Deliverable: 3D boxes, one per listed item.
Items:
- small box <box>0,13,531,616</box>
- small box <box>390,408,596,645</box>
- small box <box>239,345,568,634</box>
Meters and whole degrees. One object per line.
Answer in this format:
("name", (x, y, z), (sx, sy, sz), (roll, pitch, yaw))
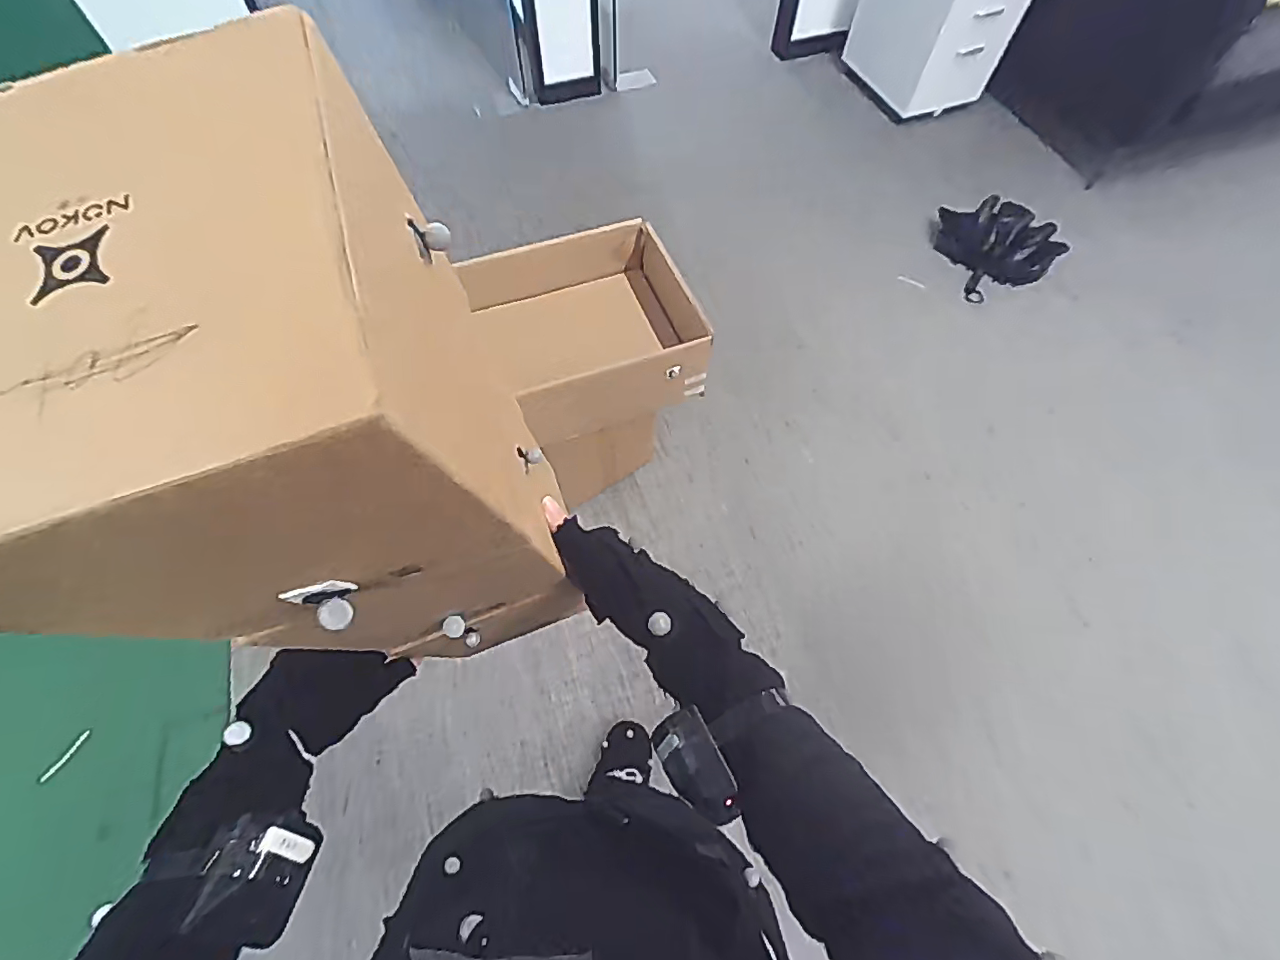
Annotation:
("small box", (-0.167, -0.049, 0.251), (0.168, 0.176, 0.179), (-20, 73, -2))
("small box", (-0.156, 0.058, 0.560), (0.168, 0.176, 0.179), (-22, 72, -4))
("small box", (-0.165, 0.002, 0.404), (0.168, 0.176, 0.179), (-20, 72, -4))
